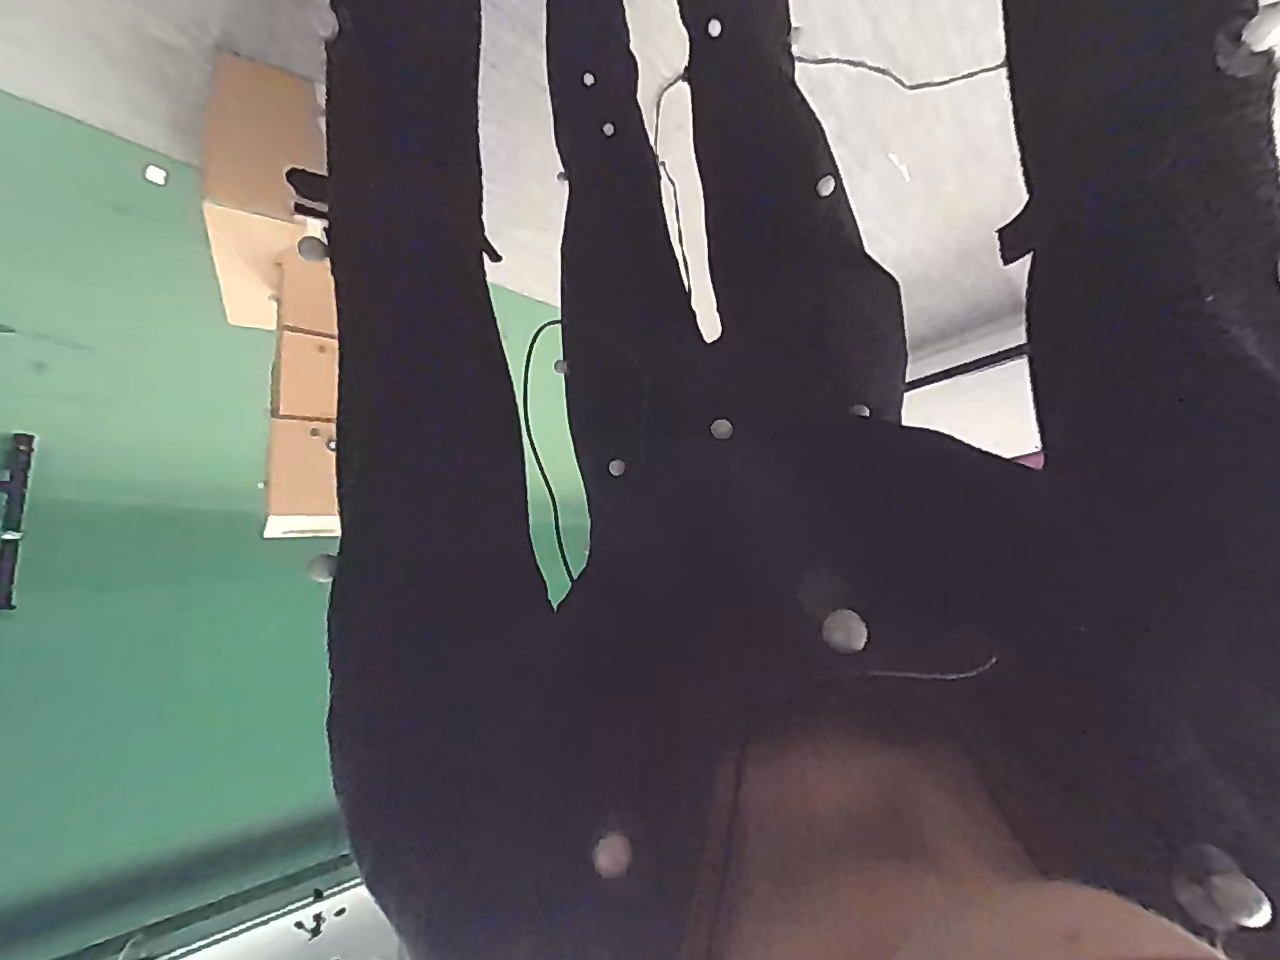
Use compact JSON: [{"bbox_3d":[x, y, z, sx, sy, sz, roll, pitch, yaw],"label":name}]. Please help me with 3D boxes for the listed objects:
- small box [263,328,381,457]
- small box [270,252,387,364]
[{"bbox_3d":[-0.588,-0.154,1.002,0.168,0.176,0.179,4,162,-39],"label":"small box"},{"bbox_3d":[-0.604,-0.309,1.046,0.179,0.176,0.168,3,163,-37],"label":"small box"}]
